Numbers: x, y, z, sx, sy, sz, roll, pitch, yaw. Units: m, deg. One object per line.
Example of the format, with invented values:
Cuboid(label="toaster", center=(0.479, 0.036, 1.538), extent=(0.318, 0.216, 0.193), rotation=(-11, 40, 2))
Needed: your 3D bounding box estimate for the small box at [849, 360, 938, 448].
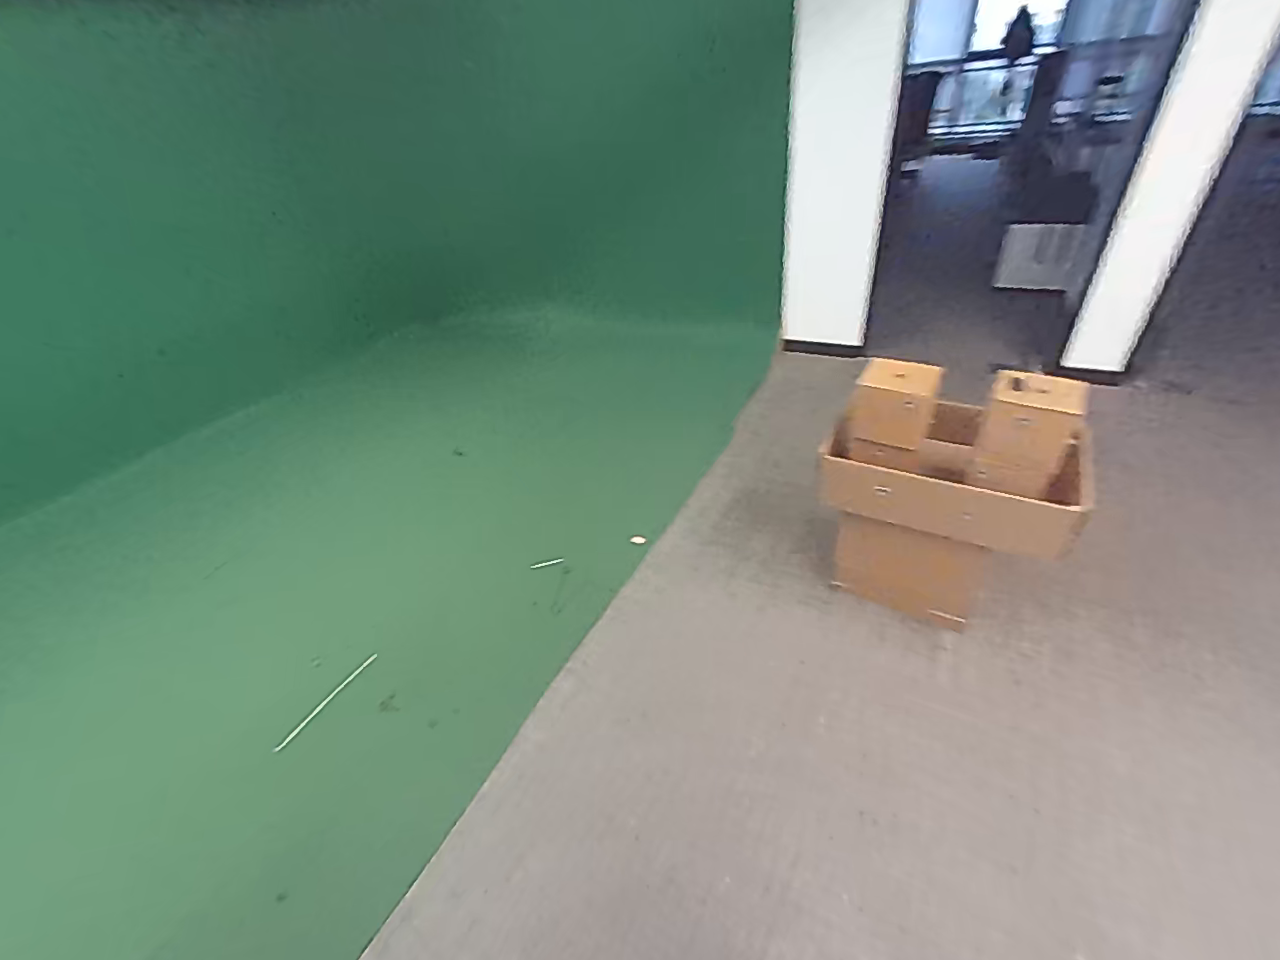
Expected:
Cuboid(label="small box", center=(0.682, -0.206, 1.467), extent=(0.179, 0.176, 0.168), rotation=(18, 45, 29))

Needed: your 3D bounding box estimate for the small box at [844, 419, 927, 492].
Cuboid(label="small box", center=(0.710, -0.087, 1.576), extent=(0.179, 0.176, 0.168), rotation=(17, 45, 28))

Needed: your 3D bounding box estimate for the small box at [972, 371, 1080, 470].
Cuboid(label="small box", center=(0.945, -0.146, 1.332), extent=(0.179, 0.176, 0.168), rotation=(19, 45, 29))
